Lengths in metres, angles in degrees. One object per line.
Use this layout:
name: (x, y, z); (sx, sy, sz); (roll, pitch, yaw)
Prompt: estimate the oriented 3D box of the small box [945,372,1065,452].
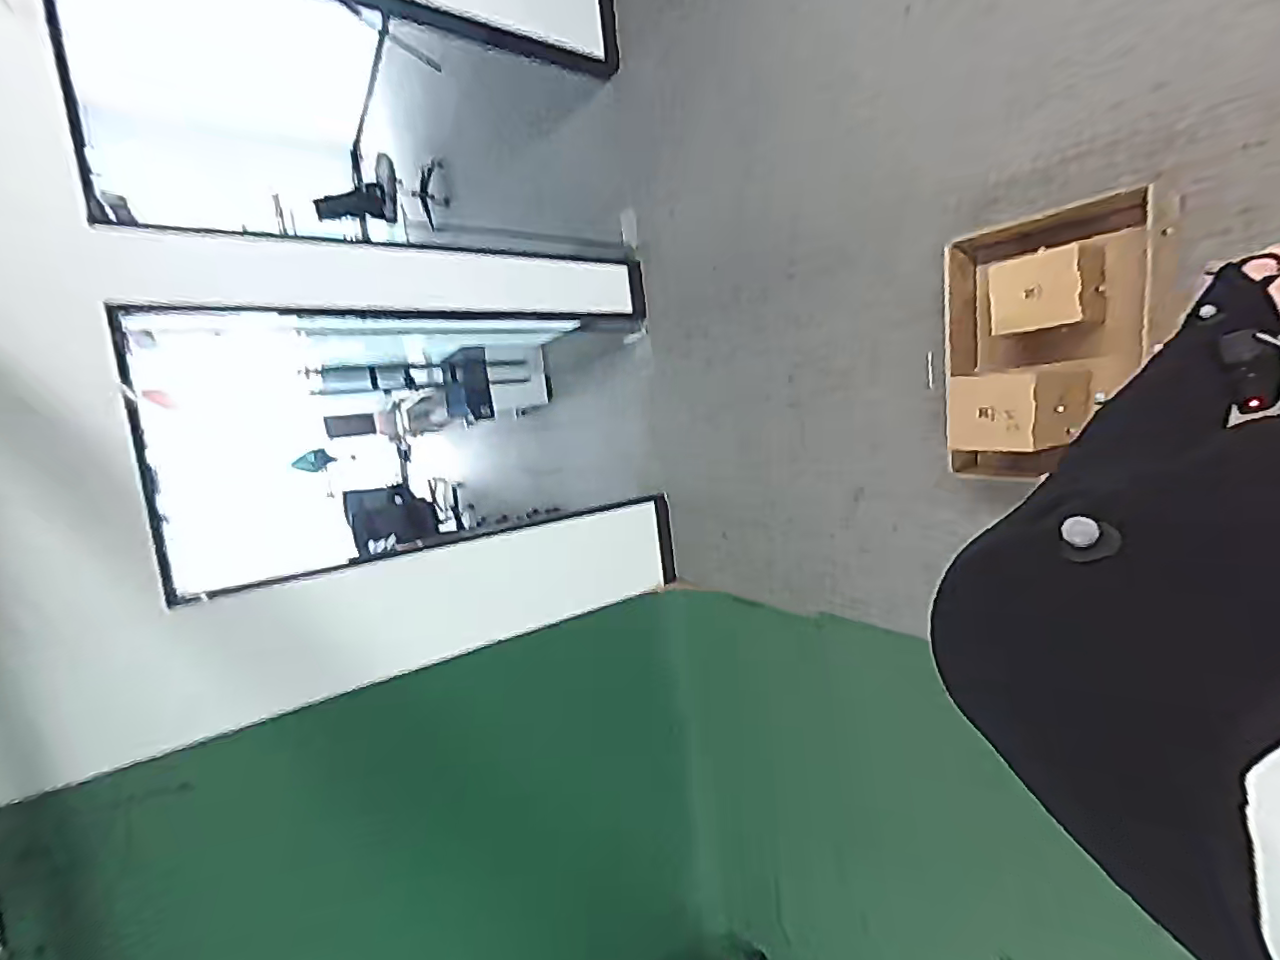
small box: (0.828, -0.157, 1.230); (0.179, 0.176, 0.168); (8, 105, 55)
